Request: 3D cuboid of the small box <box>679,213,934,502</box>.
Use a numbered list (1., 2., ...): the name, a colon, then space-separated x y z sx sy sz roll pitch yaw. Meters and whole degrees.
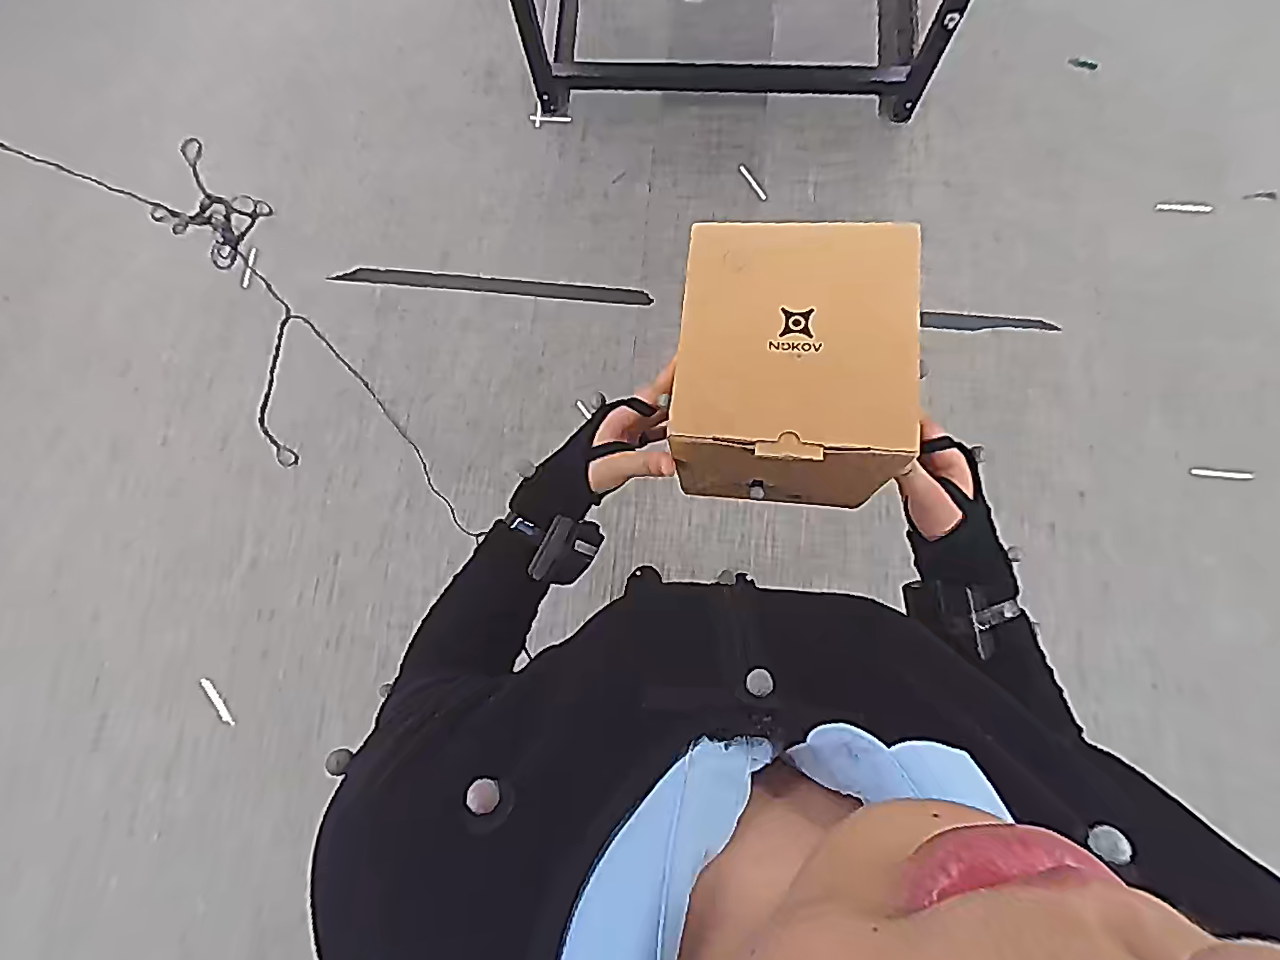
1. small box: 0.126 -0.090 0.450 0.168 0.176 0.179 4 77 10
